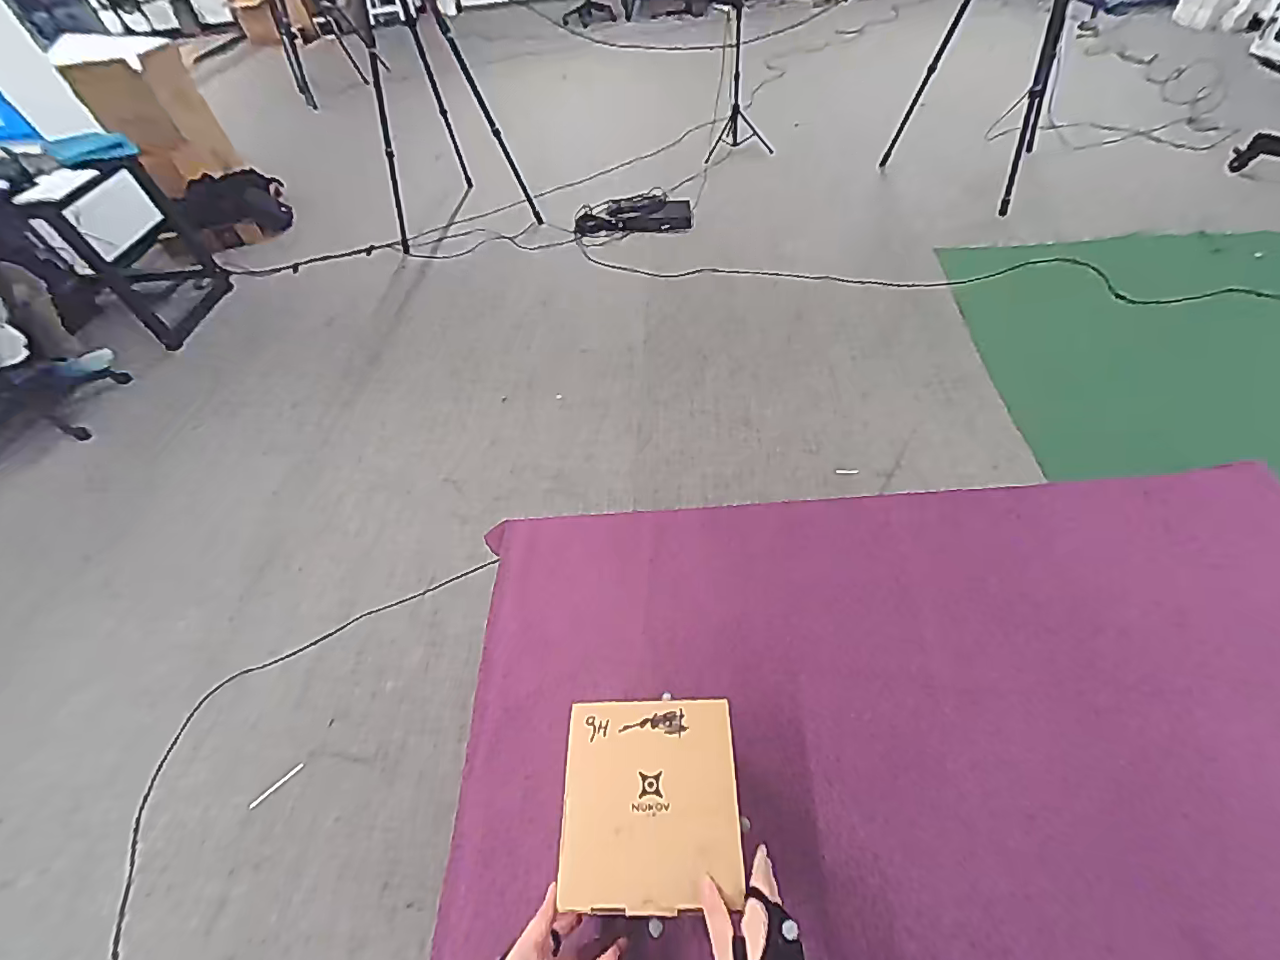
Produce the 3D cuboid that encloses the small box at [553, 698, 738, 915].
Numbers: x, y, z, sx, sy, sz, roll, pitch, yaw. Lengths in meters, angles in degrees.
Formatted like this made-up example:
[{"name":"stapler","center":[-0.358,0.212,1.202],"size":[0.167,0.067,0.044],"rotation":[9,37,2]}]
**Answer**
[{"name":"small box","center":[0.014,0.346,0.576],"size":[0.168,0.176,0.179],"rotation":[-2,52,5]}]
